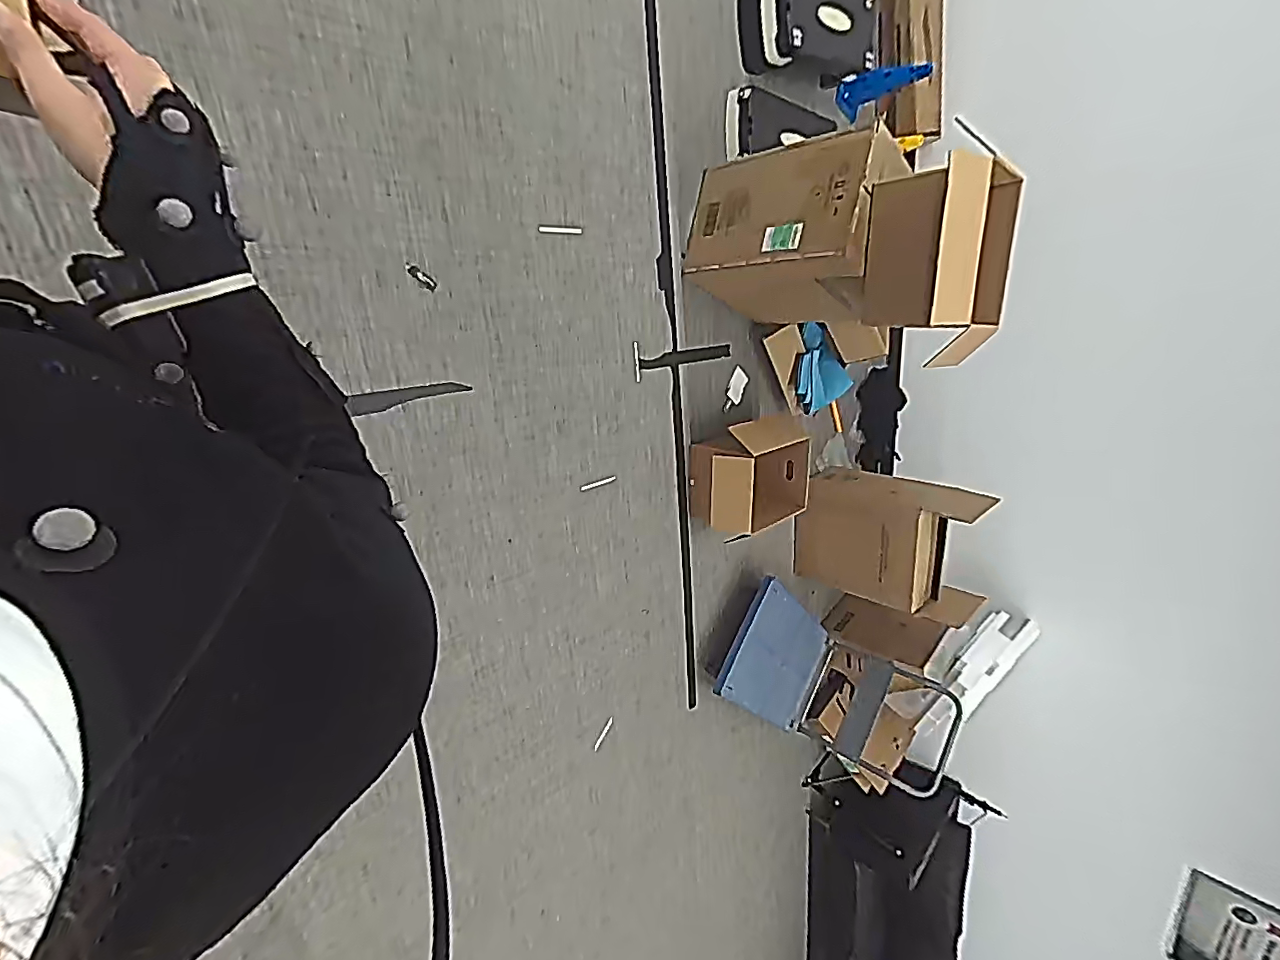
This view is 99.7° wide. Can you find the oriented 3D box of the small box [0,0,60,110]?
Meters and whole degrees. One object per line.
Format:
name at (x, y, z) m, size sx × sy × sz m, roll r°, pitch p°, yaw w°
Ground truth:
small box at (-0.442, -0.316, 0.277) m, size 0.179 × 0.176 × 0.168 m, roll -9°, pitch 115°, yaw -42°
